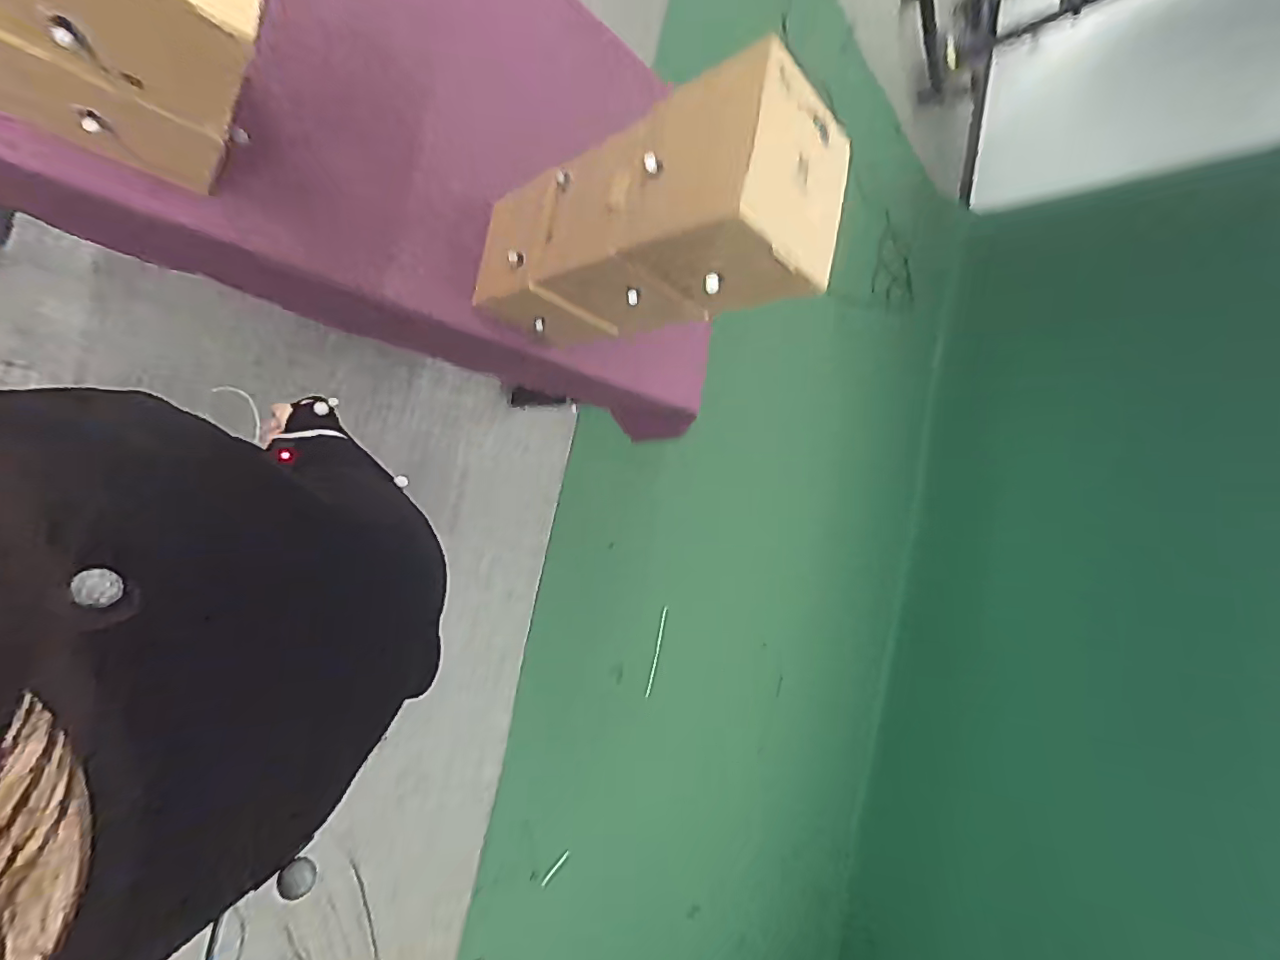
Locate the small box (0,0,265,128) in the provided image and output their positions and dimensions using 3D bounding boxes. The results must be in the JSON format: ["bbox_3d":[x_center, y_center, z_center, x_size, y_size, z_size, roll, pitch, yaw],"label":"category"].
[{"bbox_3d":[-0.367,-0.401,0.379,0.168,0.176,0.179,11,88,-44],"label":"small box"}]

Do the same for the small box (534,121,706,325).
[{"bbox_3d":[-0.016,-0.320,0.722,0.179,0.176,0.168,16,84,-44],"label":"small box"}]

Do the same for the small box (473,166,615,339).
[{"bbox_3d":[-0.136,-0.332,0.835,0.168,0.176,0.179,15,84,-44],"label":"small box"}]

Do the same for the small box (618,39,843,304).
[{"bbox_3d":[0.097,-0.314,0.603,0.168,0.176,0.179,16,85,-44],"label":"small box"}]
